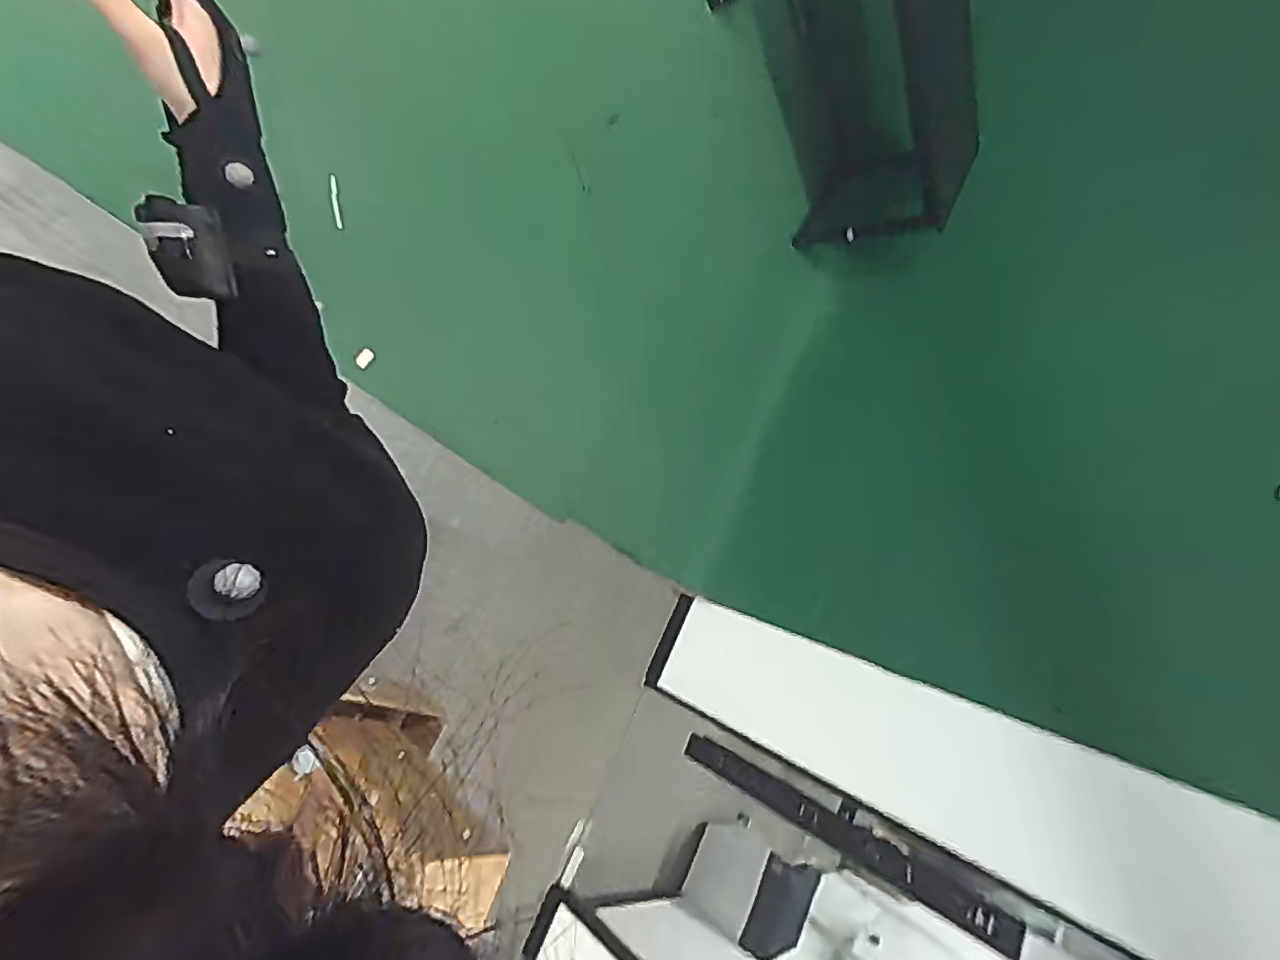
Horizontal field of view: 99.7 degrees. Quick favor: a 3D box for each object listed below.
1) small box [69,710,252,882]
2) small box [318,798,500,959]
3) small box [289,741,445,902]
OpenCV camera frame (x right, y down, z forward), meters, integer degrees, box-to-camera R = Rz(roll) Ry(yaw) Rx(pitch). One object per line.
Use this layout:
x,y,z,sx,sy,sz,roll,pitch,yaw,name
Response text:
-0.774,0.491,0.871,0.179,0.176,0.168,23,84,-49,small box
-0.367,0.634,0.863,0.179,0.176,0.168,38,70,-46,small box
-0.492,0.597,0.965,0.168,0.176,0.179,35,72,-47,small box
